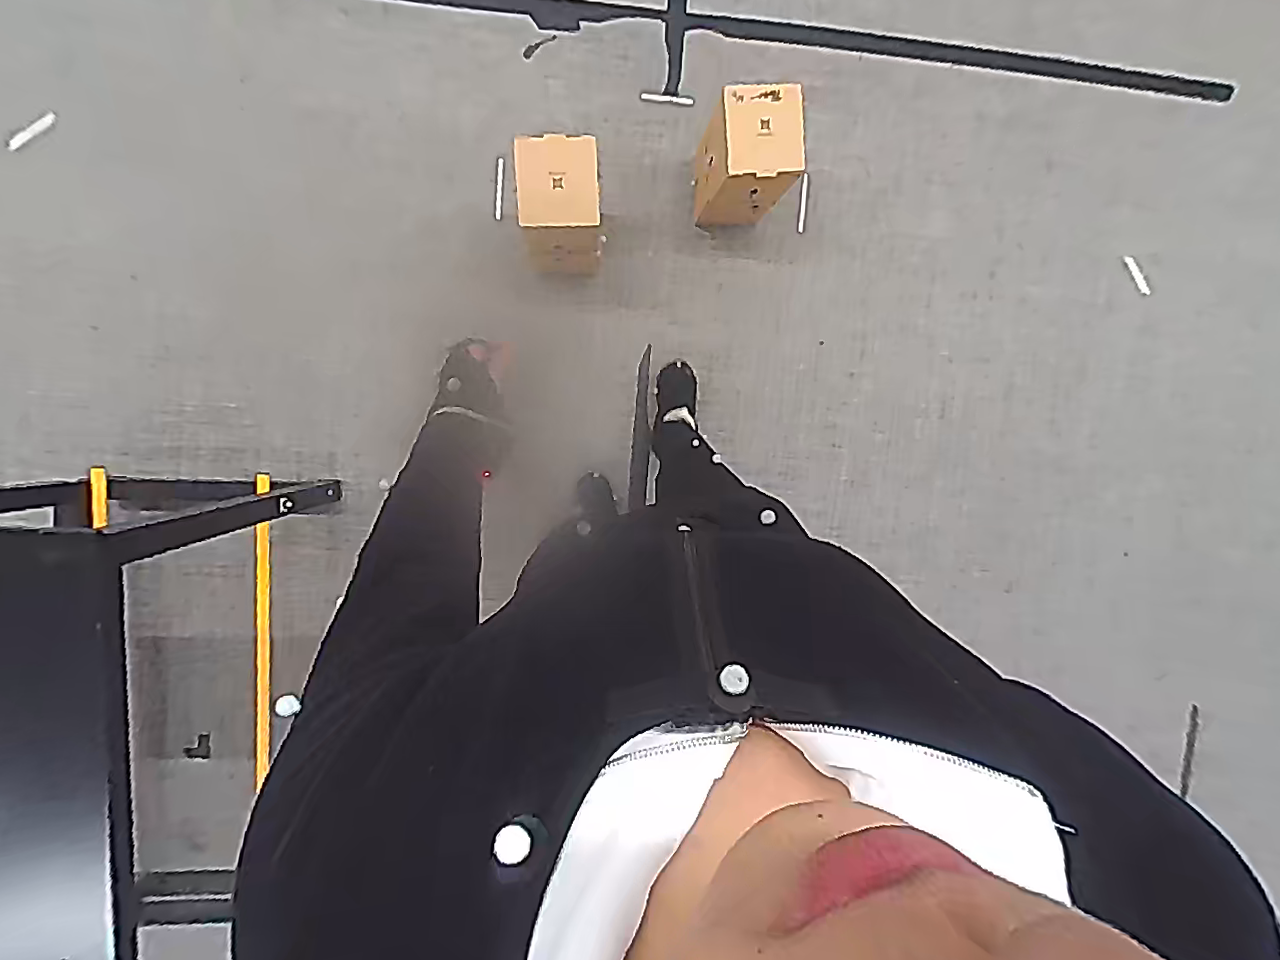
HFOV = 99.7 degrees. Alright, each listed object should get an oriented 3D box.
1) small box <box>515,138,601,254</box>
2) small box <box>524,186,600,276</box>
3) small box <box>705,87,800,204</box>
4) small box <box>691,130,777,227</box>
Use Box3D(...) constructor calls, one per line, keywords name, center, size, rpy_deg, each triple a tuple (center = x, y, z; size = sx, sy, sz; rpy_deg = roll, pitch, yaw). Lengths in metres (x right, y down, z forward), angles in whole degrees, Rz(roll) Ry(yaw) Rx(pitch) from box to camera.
Box3D(name="small box", center=(-0.172, -0.604, 1.165), size=(0.168, 0.176, 0.179), rpy_deg=(-3, 97, -4))
Box3D(name="small box", center=(-0.188, -0.608, 1.327), size=(0.179, 0.176, 0.168), rpy_deg=(0, 96, -6))
Box3D(name="small box", center=(0.244, -0.725, 1.192), size=(0.168, 0.176, 0.179), rpy_deg=(-4, 97, -5))
Box3D(name="small box", center=(0.231, -0.750, 1.354), size=(0.179, 0.176, 0.168), rpy_deg=(-3, 96, -5))
